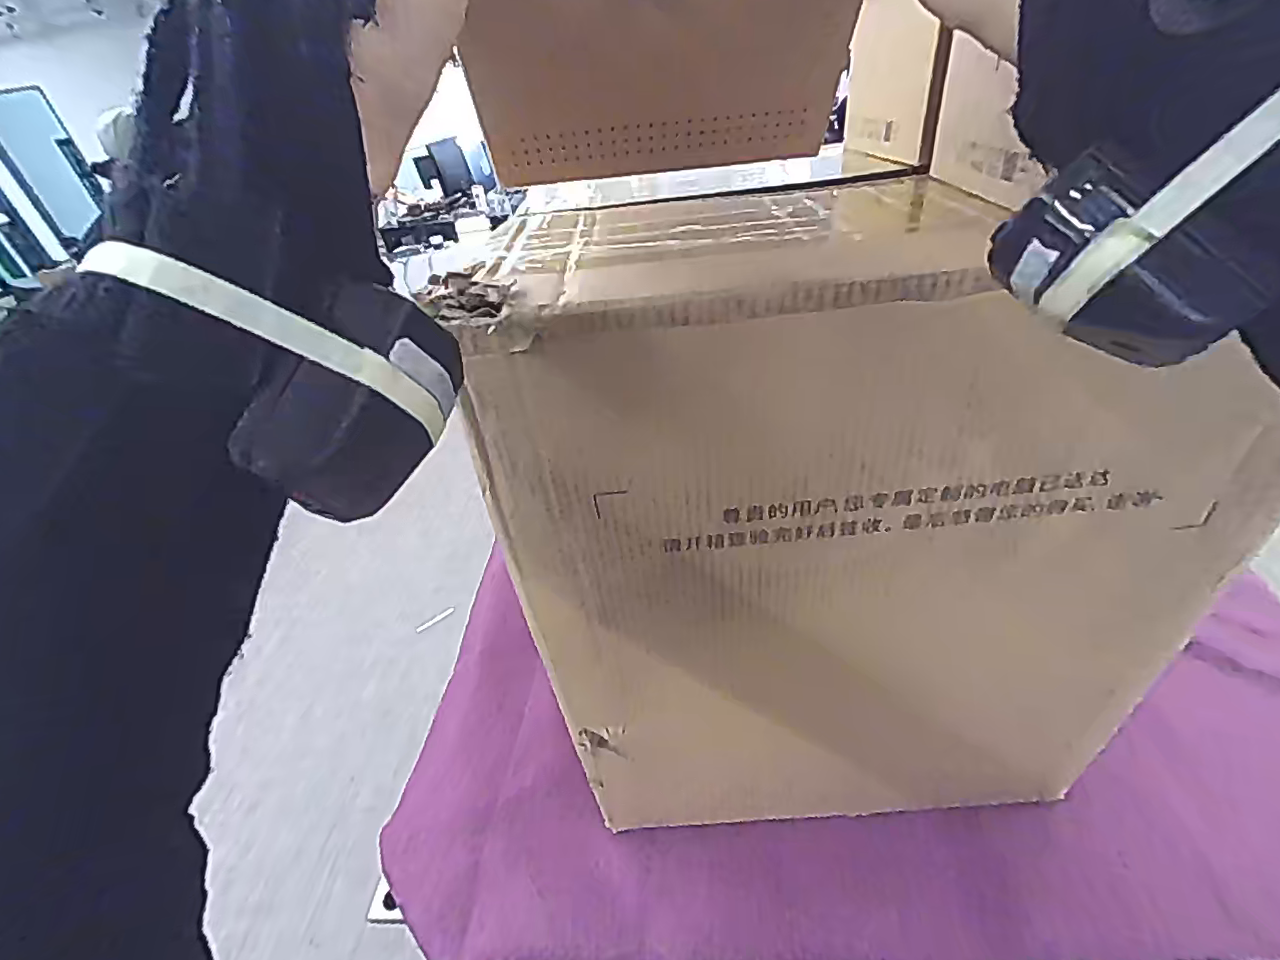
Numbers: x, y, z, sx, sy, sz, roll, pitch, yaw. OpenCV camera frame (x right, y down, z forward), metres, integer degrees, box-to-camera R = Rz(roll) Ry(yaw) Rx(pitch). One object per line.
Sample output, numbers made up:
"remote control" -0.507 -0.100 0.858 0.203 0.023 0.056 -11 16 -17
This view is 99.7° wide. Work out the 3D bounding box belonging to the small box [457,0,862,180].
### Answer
"small box" 0.006 -0.271 0.245 0.179 0.176 0.168 -6 67 1
